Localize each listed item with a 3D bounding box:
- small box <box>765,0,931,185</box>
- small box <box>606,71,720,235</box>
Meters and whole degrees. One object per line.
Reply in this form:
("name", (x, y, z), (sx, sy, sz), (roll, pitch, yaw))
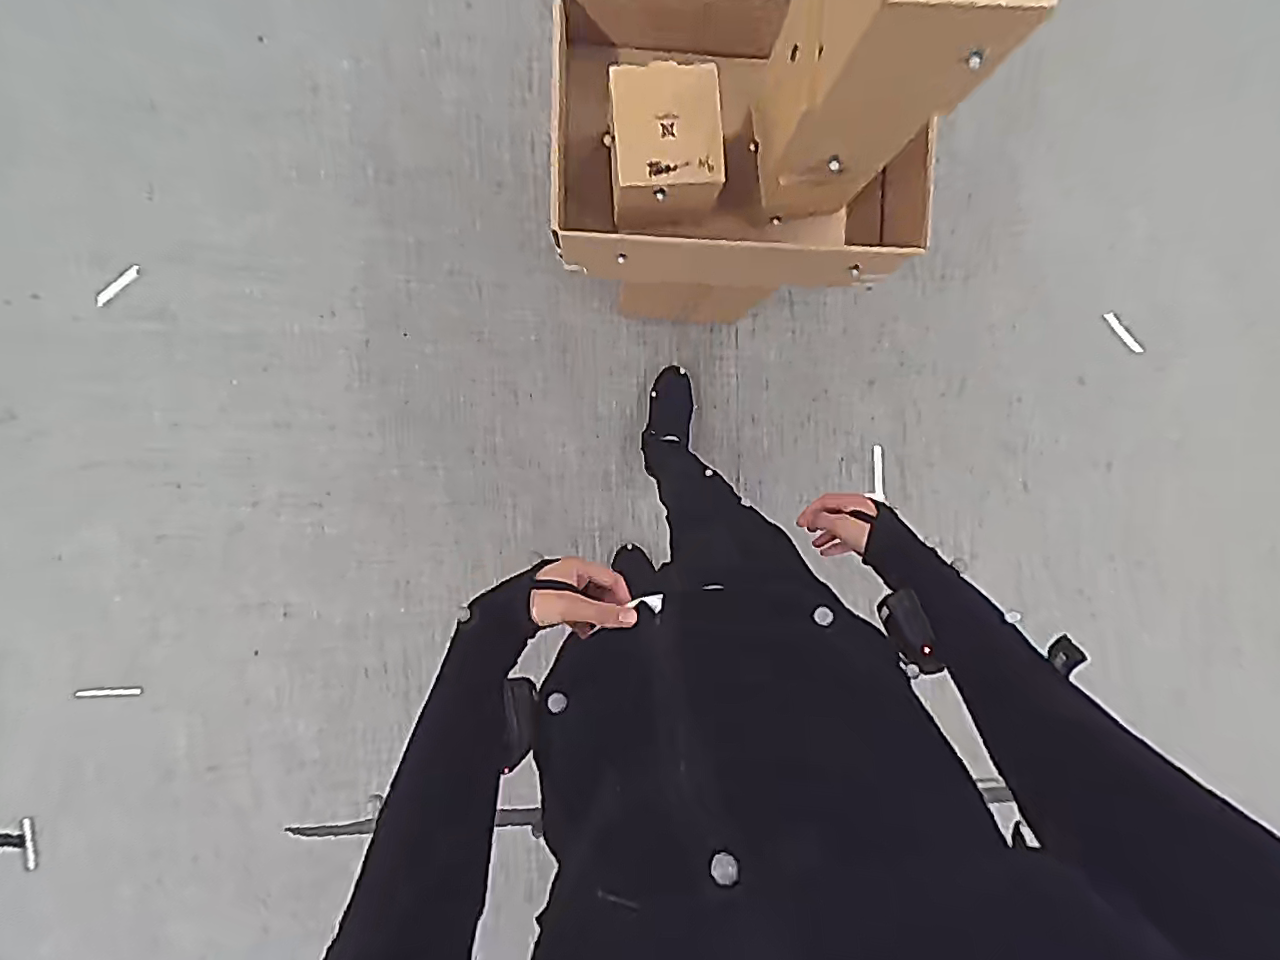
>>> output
("small box", (0.275, -0.540, 0.749), (0.168, 0.176, 0.179), (-1, 94, -2))
("small box", (0.030, -0.531, 0.896), (0.168, 0.176, 0.179), (-5, 93, -3))
